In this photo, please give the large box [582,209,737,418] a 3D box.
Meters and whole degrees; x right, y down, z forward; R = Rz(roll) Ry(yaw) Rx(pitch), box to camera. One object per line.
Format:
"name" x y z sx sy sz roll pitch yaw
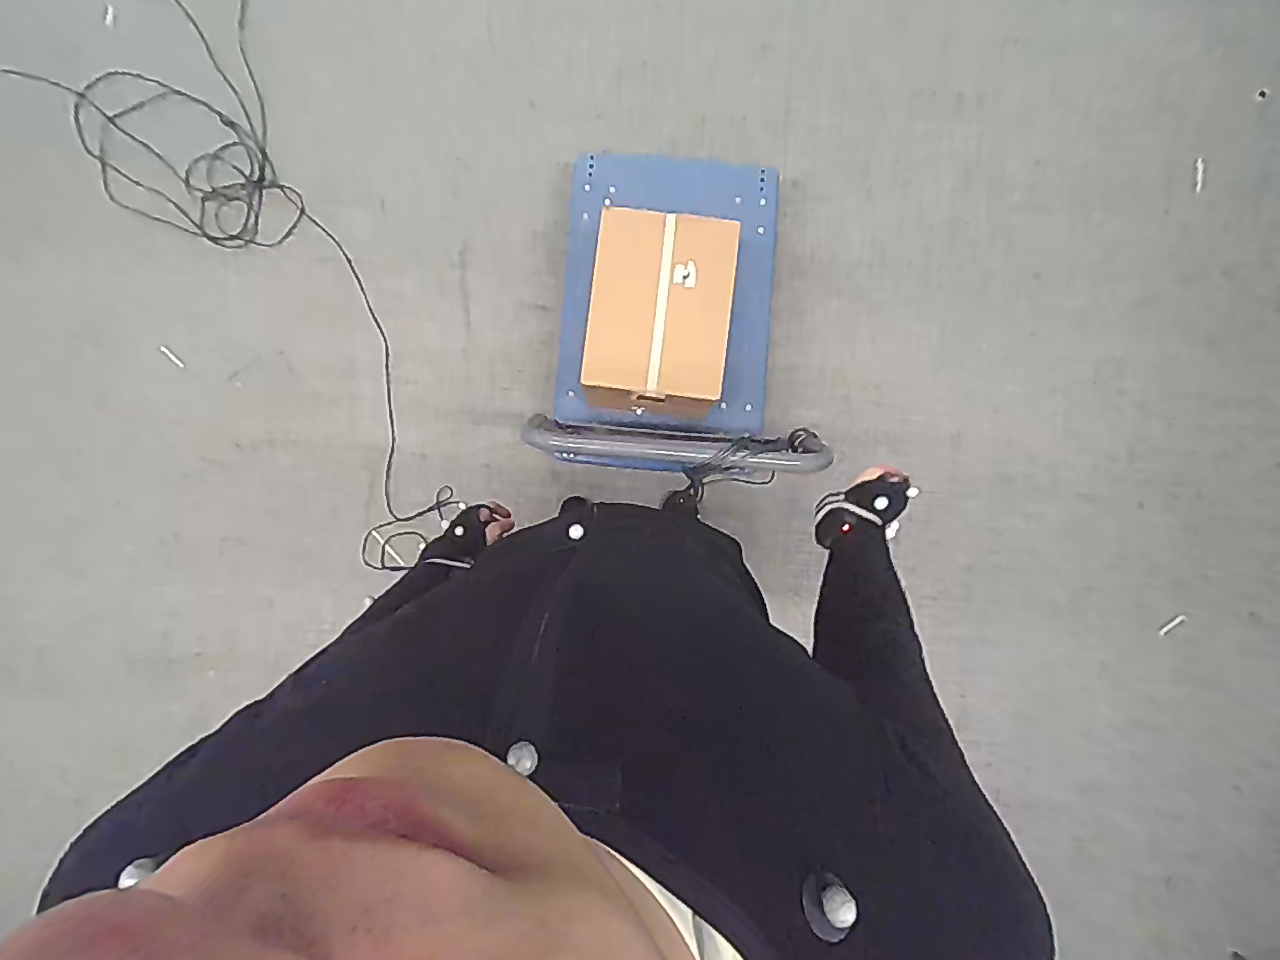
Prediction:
"large box" 0.045 -0.385 1.346 0.320 0.320 0.408 7 88 -1
